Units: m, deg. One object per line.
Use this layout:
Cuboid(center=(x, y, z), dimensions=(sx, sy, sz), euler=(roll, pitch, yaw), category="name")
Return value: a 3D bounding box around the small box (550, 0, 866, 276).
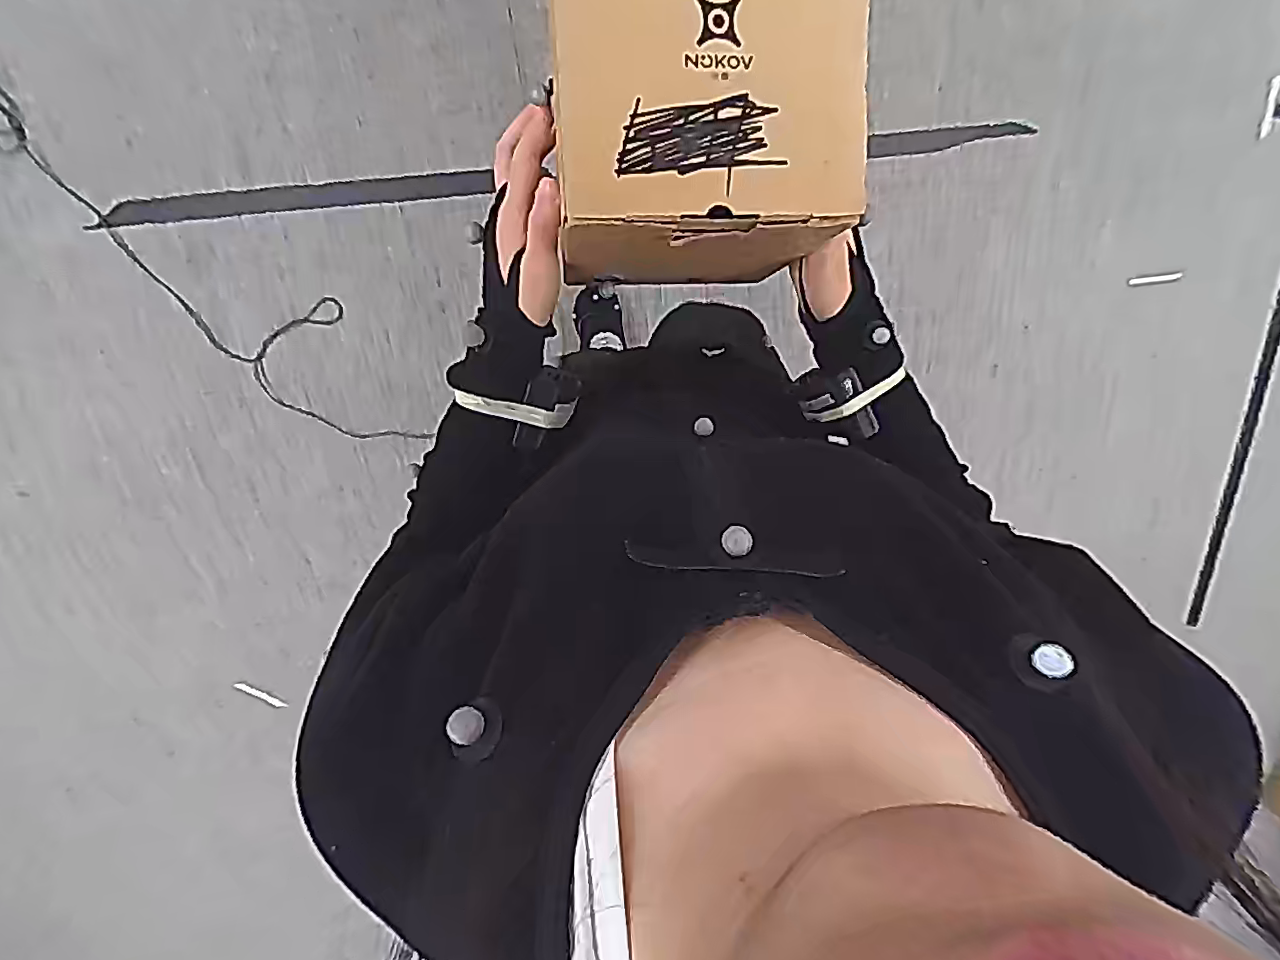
Cuboid(center=(0.027, -0.239, 0.357), dimensions=(0.168, 0.176, 0.179), euler=(-3, 98, -8), category="small box")
